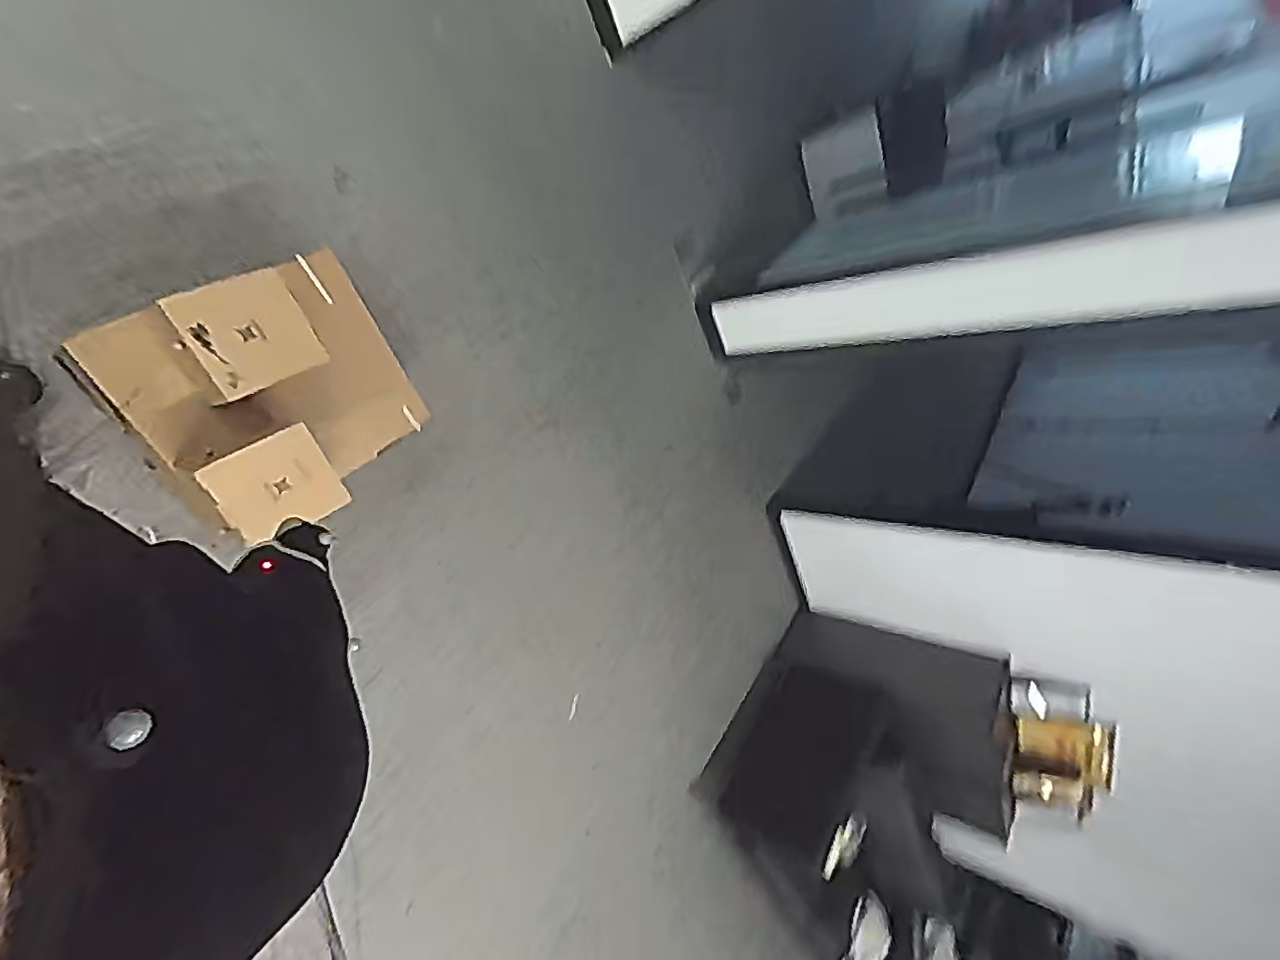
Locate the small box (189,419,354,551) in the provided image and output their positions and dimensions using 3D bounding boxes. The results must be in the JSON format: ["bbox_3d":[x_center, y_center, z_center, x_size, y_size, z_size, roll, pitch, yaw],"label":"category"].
[{"bbox_3d":[-0.660,0.000,0.964,0.179,0.176,0.168,-40,124,-38],"label":"small box"}]

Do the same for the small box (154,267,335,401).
[{"bbox_3d":[-0.672,-0.245,0.922,0.179,0.176,0.168,-42,122,-38],"label":"small box"}]
